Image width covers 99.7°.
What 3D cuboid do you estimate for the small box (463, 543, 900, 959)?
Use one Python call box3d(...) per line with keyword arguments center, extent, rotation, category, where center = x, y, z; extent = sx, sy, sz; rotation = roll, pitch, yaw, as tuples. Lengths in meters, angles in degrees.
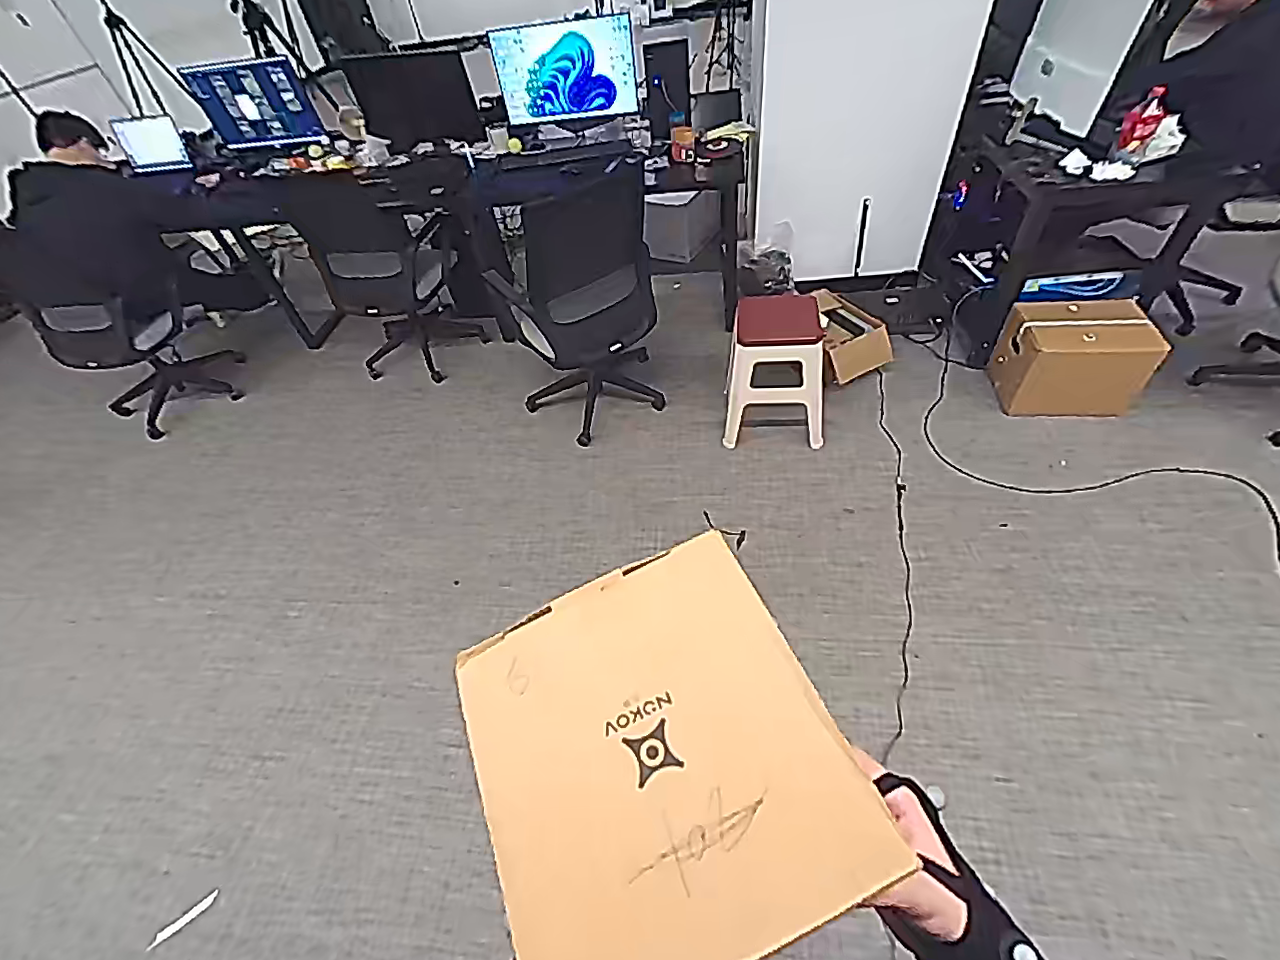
box3d(center=(0.018, 0.175, 0.333), extent=(0.168, 0.176, 0.179), rotation=(-26, 56, -4), category="small box")
